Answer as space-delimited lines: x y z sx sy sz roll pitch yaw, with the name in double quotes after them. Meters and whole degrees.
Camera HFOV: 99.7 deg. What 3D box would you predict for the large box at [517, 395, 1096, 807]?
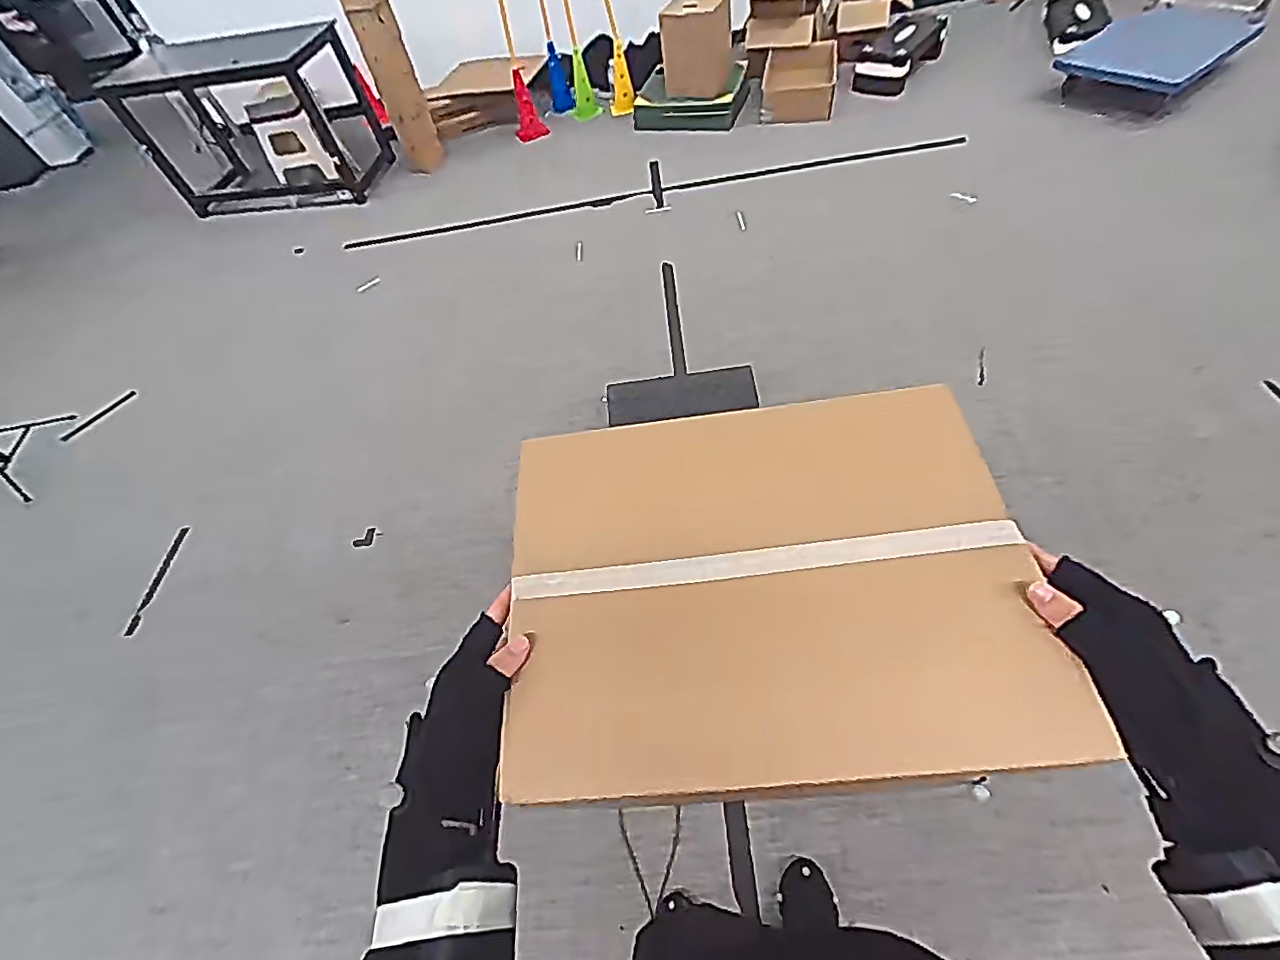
0.119 0.151 0.574 0.408 0.320 0.320 -8 57 5 "large box"
